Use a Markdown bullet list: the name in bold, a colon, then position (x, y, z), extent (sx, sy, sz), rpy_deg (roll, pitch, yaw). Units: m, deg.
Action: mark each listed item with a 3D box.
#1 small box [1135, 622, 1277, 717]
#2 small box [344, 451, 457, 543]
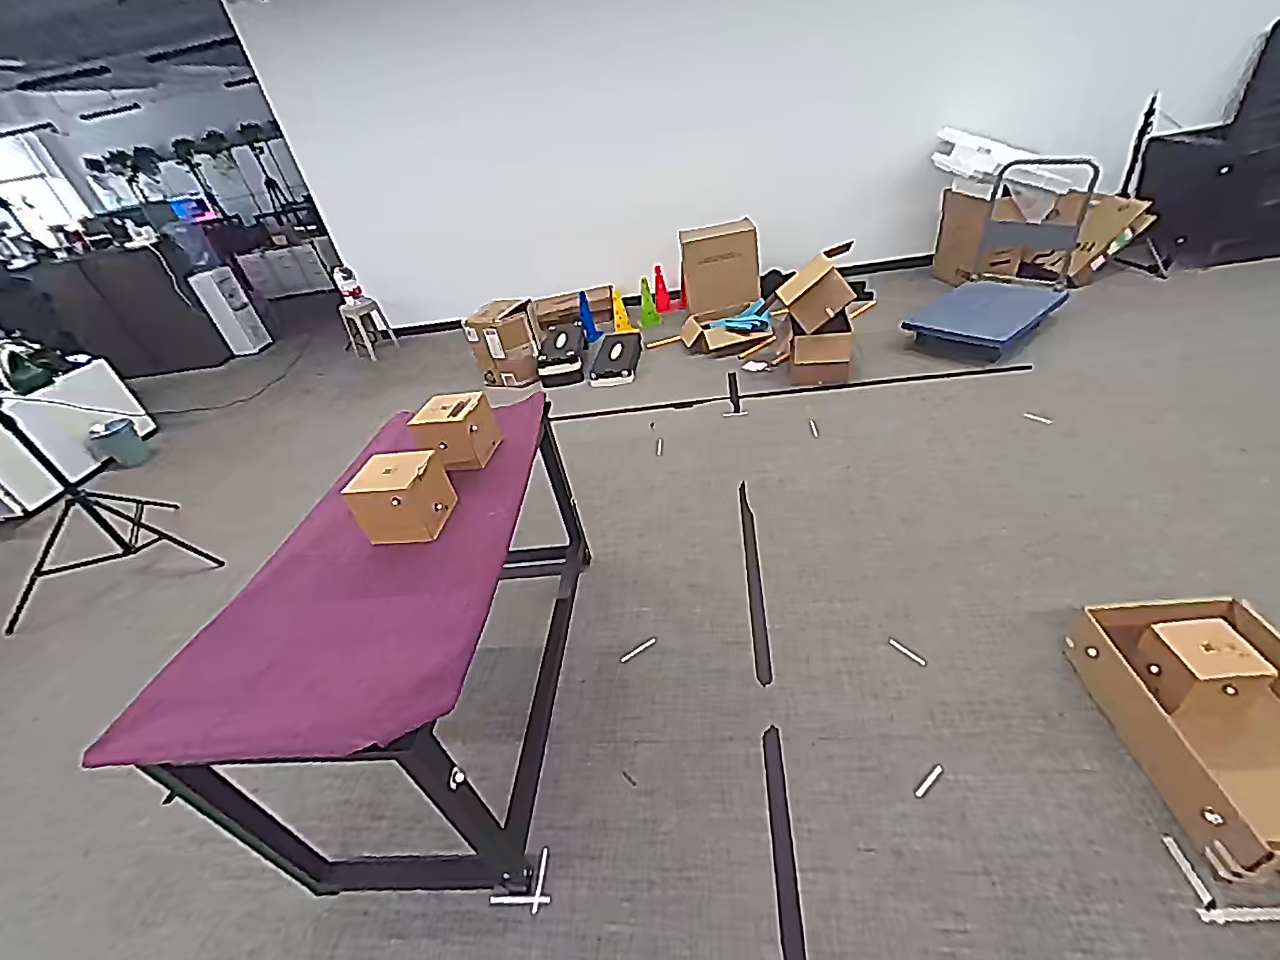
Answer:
- **small box**: position (1.431, 0.490, 1.388), extent (0.179, 0.176, 0.168), rpy_deg (-7, 37, 6)
- **small box**: position (-0.594, 0.045, 1.366), extent (0.179, 0.176, 0.168), rpy_deg (-4, 36, 10)
